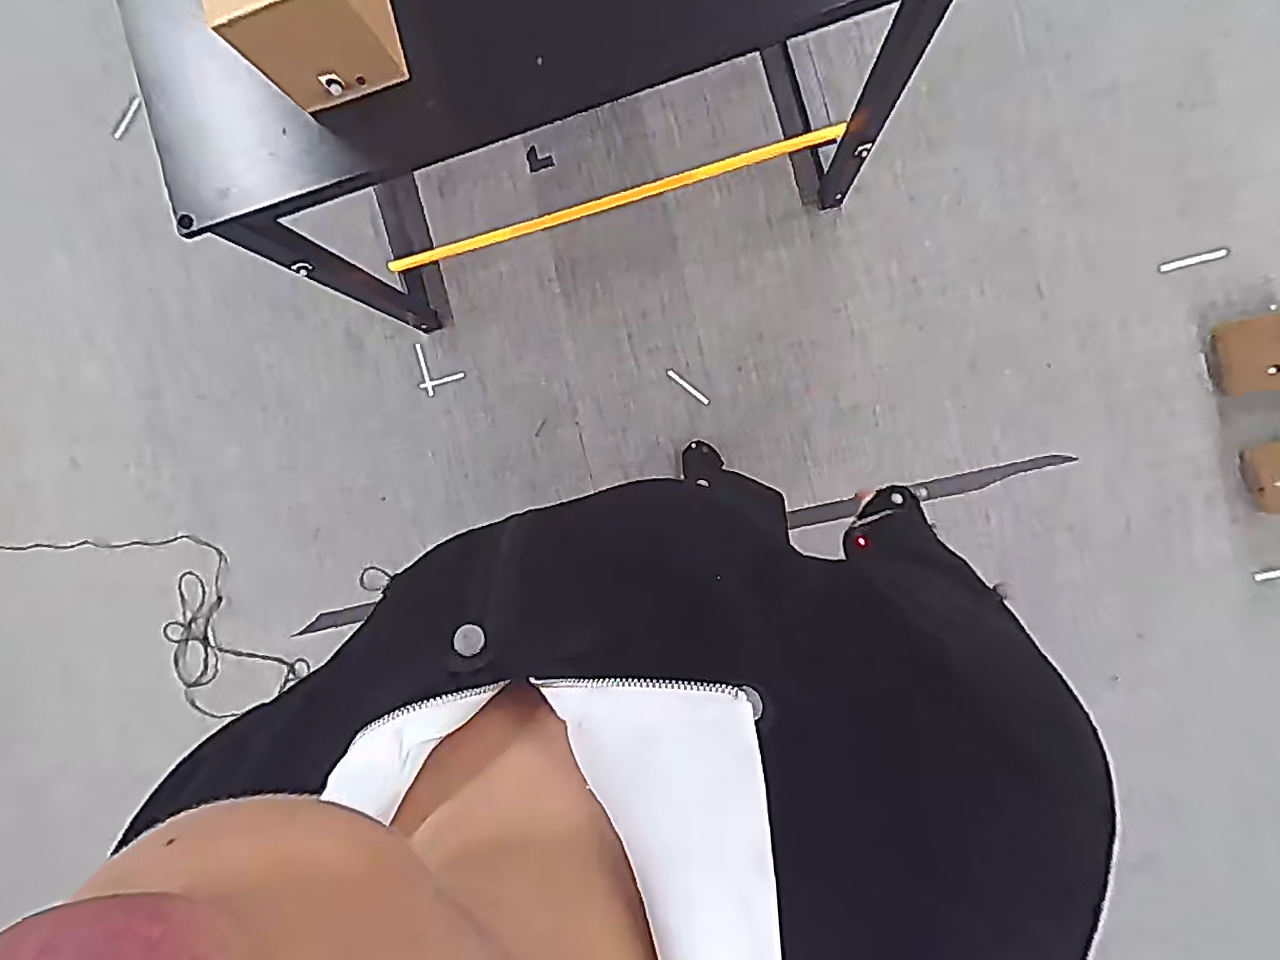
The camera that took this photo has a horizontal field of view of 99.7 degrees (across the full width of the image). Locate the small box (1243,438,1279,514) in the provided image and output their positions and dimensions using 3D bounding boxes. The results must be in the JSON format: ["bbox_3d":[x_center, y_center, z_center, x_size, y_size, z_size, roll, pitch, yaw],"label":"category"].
[{"bbox_3d":[1.568,-0.016,1.248,0.179,0.176,0.168,-17,91,7],"label":"small box"}]

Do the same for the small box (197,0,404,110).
[{"bbox_3d":[-0.437,-0.632,0.694,0.168,0.176,0.179,-15,91,7],"label":"small box"}]

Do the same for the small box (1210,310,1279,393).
[{"bbox_3d":[1.484,-0.303,1.241,0.168,0.176,0.179,-13,91,6],"label":"small box"}]
